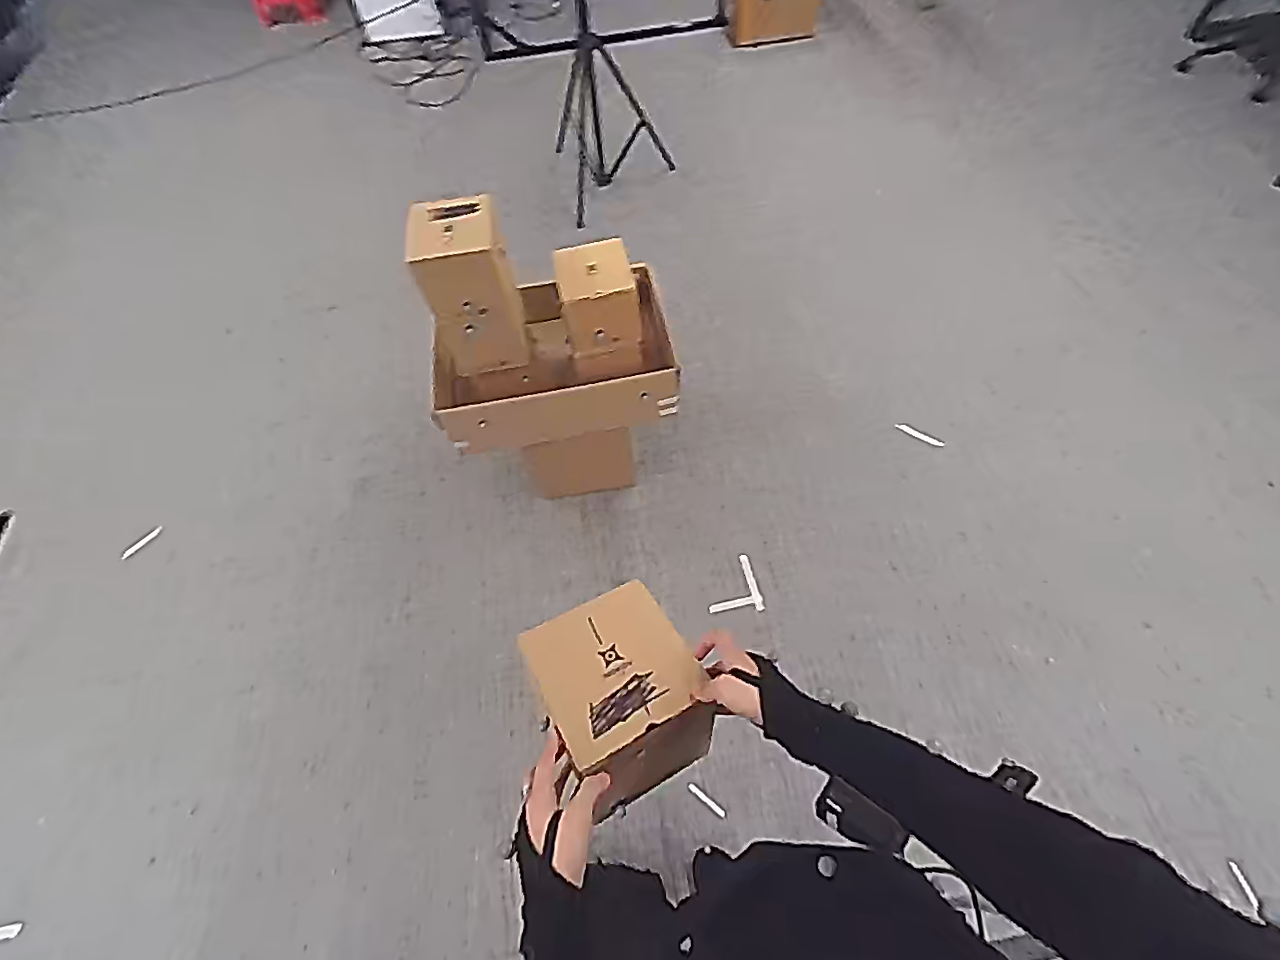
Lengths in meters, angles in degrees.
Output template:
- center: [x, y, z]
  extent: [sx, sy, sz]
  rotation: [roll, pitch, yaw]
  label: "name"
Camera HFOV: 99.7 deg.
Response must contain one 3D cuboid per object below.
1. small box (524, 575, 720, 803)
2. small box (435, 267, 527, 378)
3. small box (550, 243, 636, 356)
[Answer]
- center: [-0.022, 0.255, 0.653]
  extent: [0.168, 0.176, 0.179]
  rotation: [-21, 46, -20]
  label: "small box"
- center: [-0.370, -0.368, 1.274]
  extent: [0.168, 0.176, 0.179]
  rotation: [-11, 60, -2]
  label: "small box"
- center: [-0.108, -0.425, 1.286]
  extent: [0.168, 0.176, 0.179]
  rotation: [-13, 61, -3]
  label: "small box"
